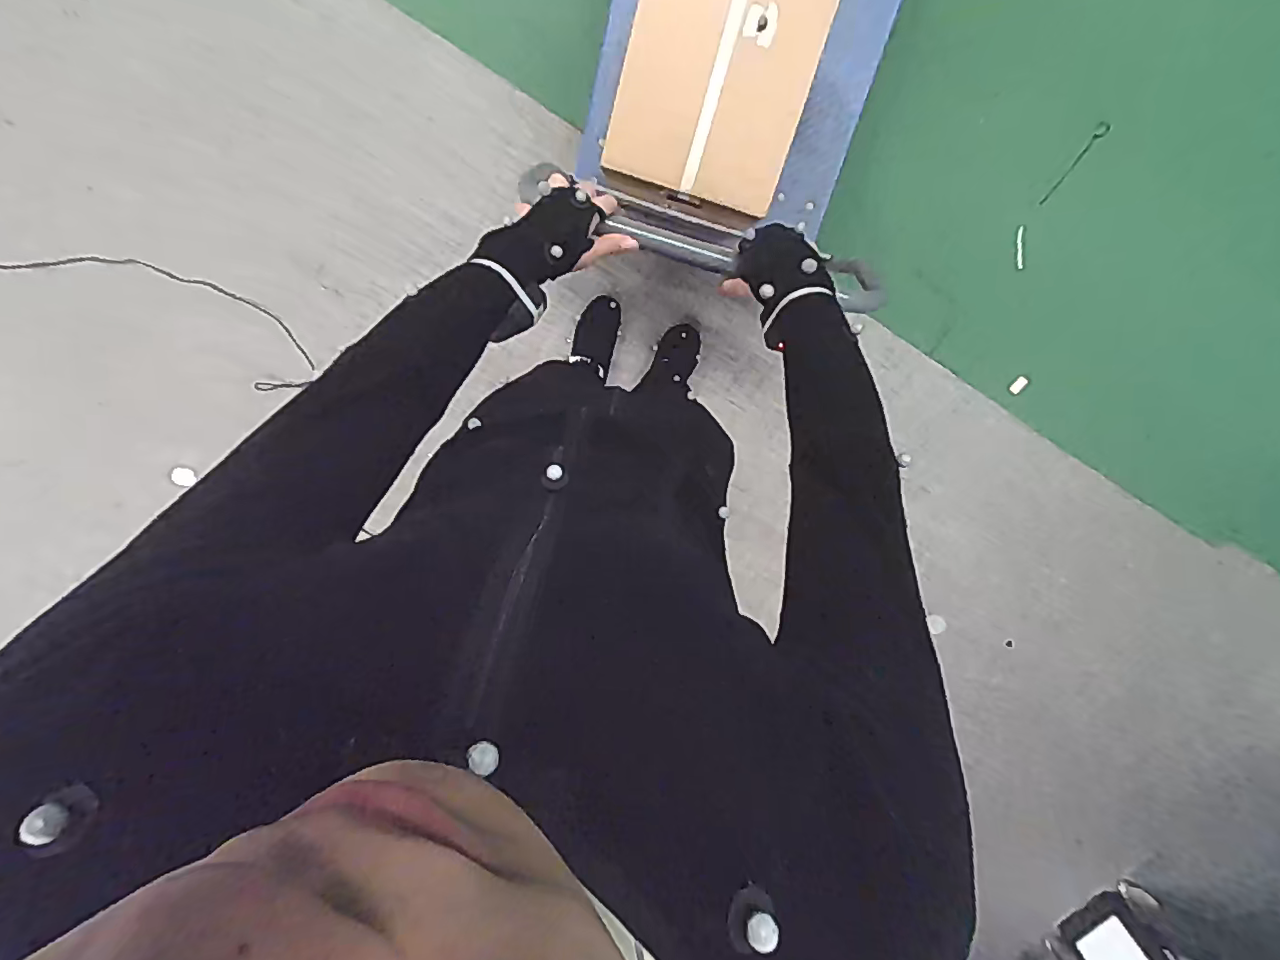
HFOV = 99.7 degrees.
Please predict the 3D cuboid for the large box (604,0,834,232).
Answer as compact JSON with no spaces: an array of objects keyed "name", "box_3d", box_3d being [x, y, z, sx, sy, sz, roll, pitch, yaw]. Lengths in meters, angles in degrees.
[{"name":"large box","box_3d":[0.136,-0.744,1.046,0.320,0.320,0.408,16,109,-4]}]
